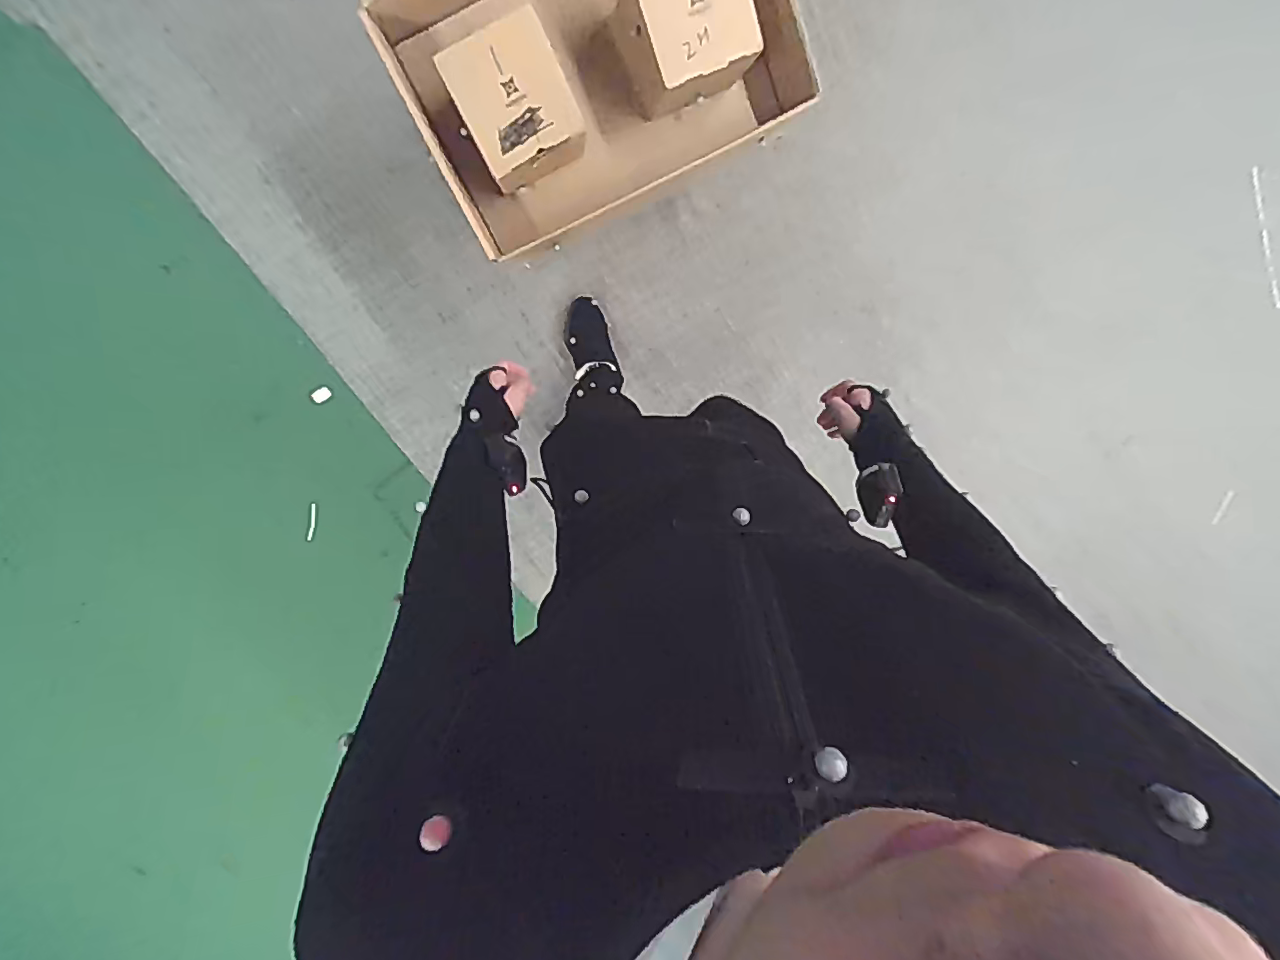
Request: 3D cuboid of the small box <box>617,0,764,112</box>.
[{"bbox_3d":[0.072,-0.731,0.859,0.168,0.176,0.179,-23,111,0],"label":"small box"}]
